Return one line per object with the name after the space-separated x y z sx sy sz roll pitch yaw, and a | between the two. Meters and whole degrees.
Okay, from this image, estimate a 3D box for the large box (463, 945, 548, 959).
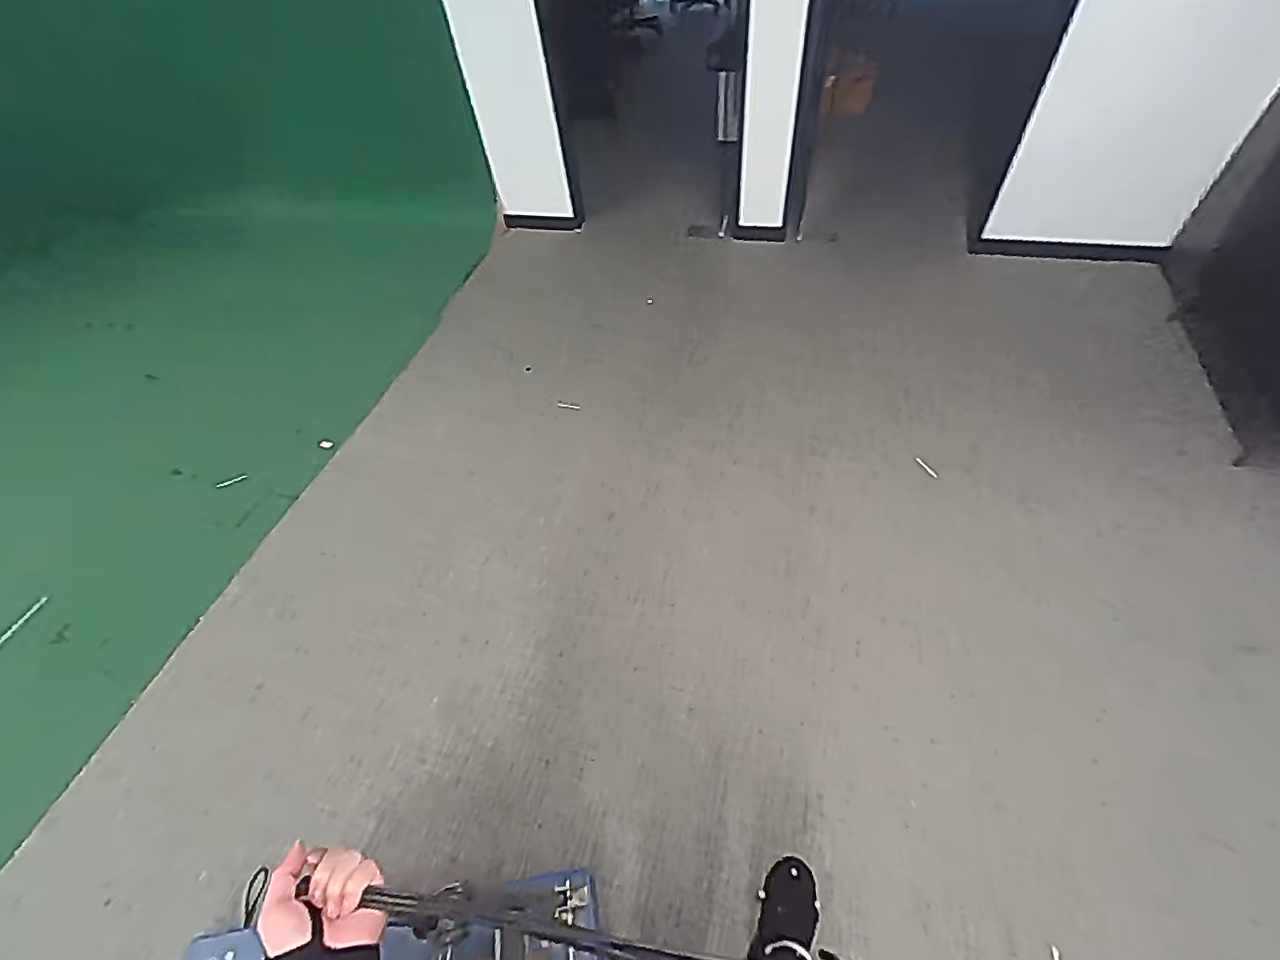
-0.367 0.993 0.867 0.408 0.320 0.320 -10 51 0 | large box
